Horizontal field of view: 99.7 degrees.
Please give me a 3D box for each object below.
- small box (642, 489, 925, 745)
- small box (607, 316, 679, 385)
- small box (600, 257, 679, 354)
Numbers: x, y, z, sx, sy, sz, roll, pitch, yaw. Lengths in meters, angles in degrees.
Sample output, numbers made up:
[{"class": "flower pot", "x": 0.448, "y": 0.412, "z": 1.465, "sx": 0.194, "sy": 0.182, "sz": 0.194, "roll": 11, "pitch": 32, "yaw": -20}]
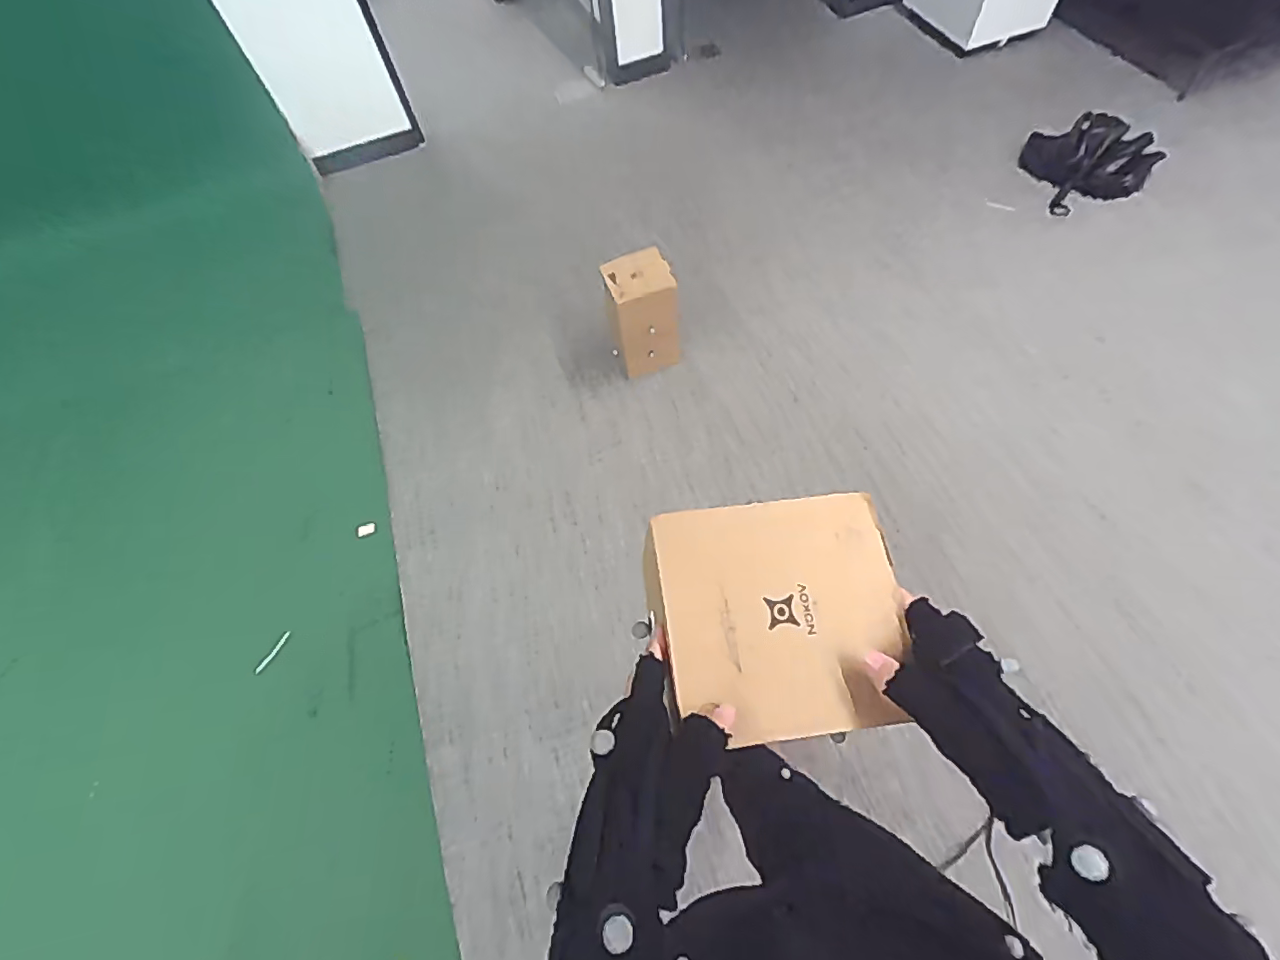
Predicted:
[{"class": "small box", "x": 0.099, "y": 0.121, "z": 0.467, "sx": 0.179, "sy": 0.176, "sz": 0.168, "roll": -8, "pitch": 68, "yaw": -4}, {"class": "small box", "x": 0.014, "y": -0.431, "z": 1.698, "sx": 0.179, "sy": 0.176, "sz": 0.168, "roll": -22, "pitch": 61, "yaw": -4}, {"class": "small box", "x": 0.002, "y": -0.497, "z": 1.552, "sx": 0.179, "sy": 0.176, "sz": 0.168, "roll": -22, "pitch": 63, "yaw": -5}]
